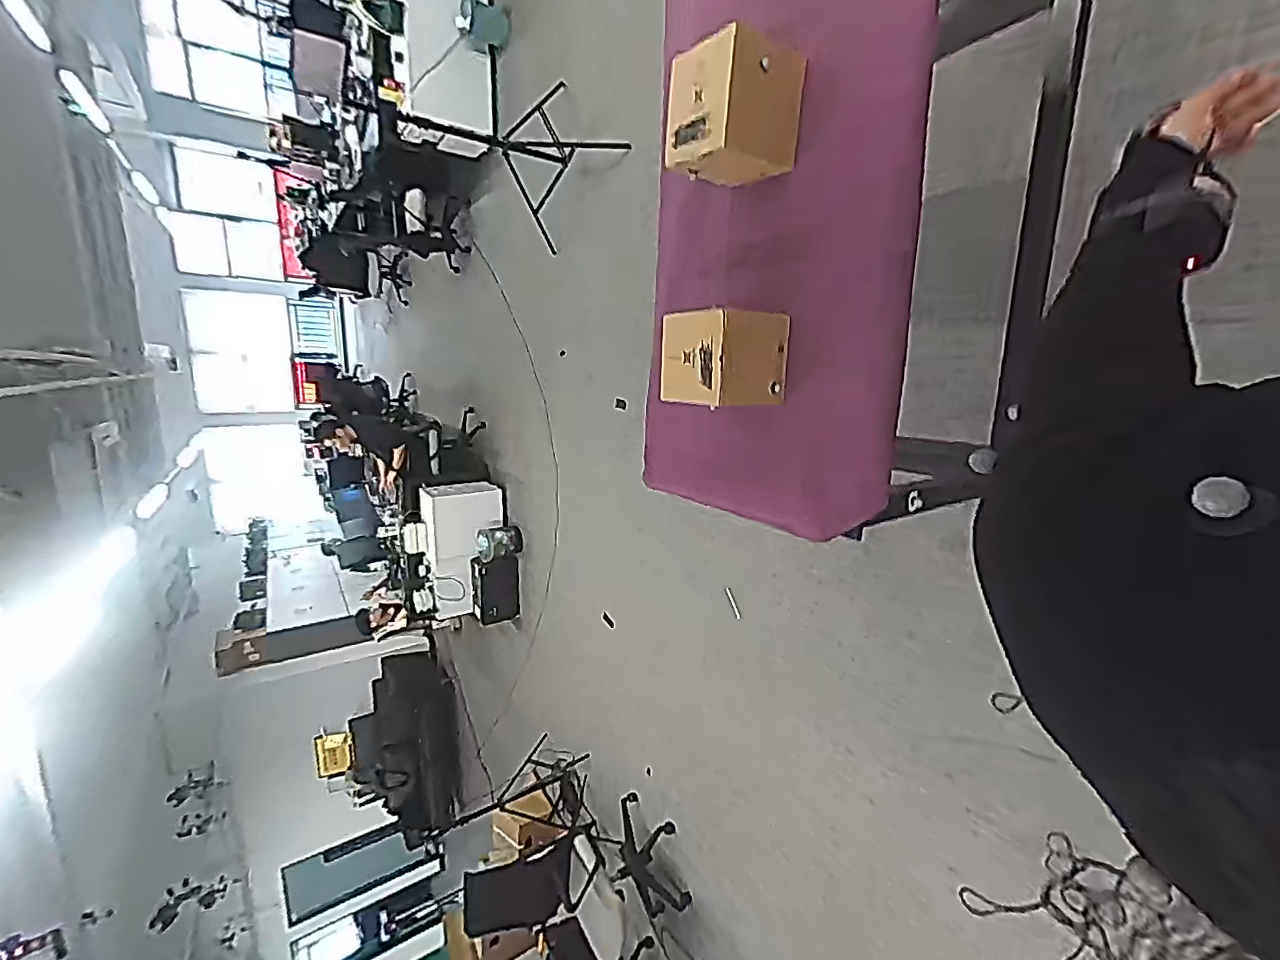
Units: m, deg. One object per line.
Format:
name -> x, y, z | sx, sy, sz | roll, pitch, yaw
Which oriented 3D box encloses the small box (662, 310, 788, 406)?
small box -> 0.162, -0.232, 1.037 | 0.179, 0.176, 0.168 | 19, 110, 54
